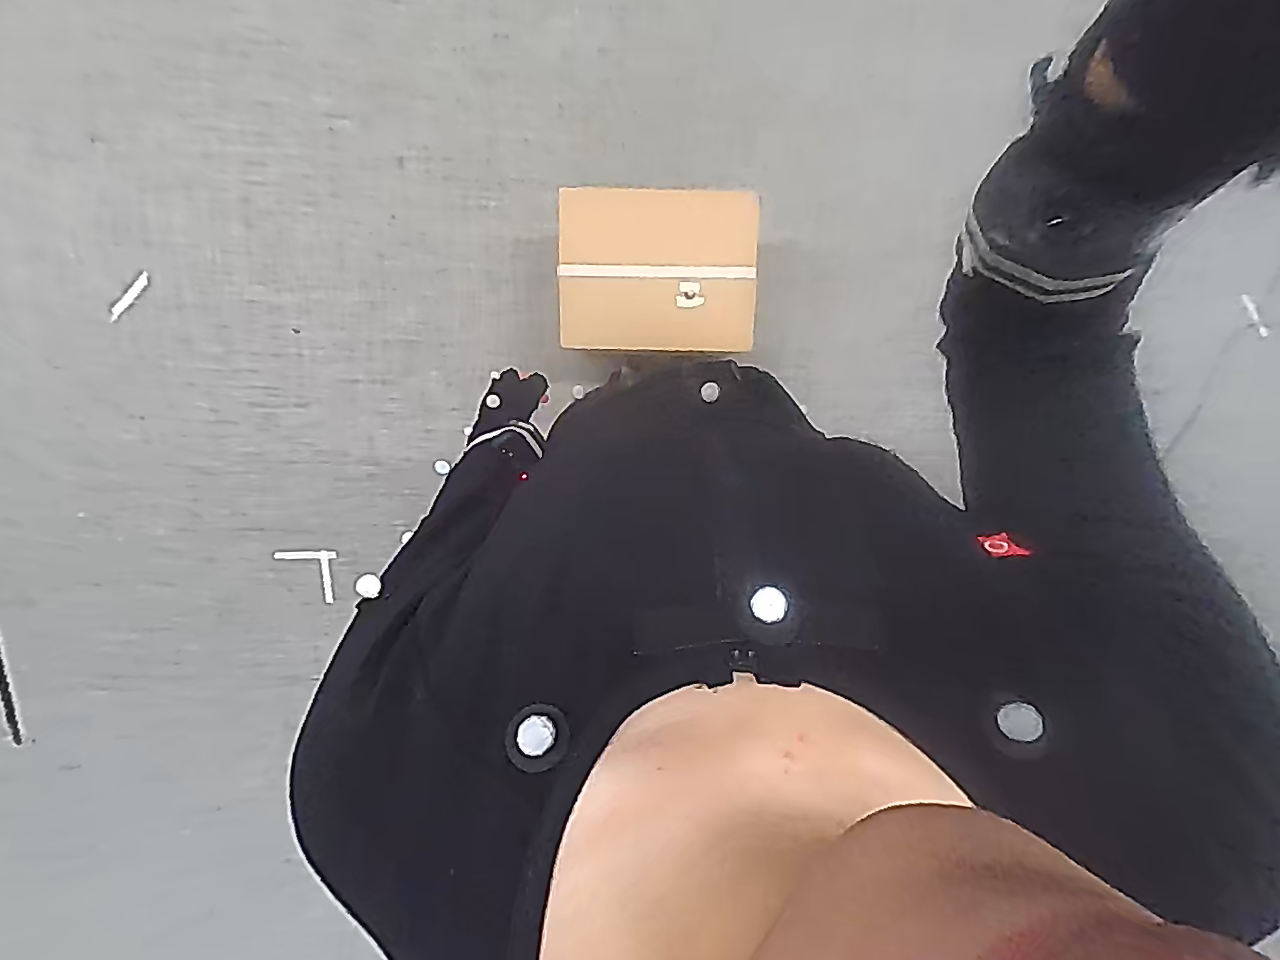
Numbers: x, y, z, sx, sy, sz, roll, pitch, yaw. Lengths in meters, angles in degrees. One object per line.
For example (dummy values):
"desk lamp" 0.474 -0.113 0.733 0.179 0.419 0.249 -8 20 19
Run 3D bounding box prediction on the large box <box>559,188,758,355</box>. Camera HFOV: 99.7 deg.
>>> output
"large box" 0.033 -0.455 1.249 0.408 0.320 0.320 0 102 -1
